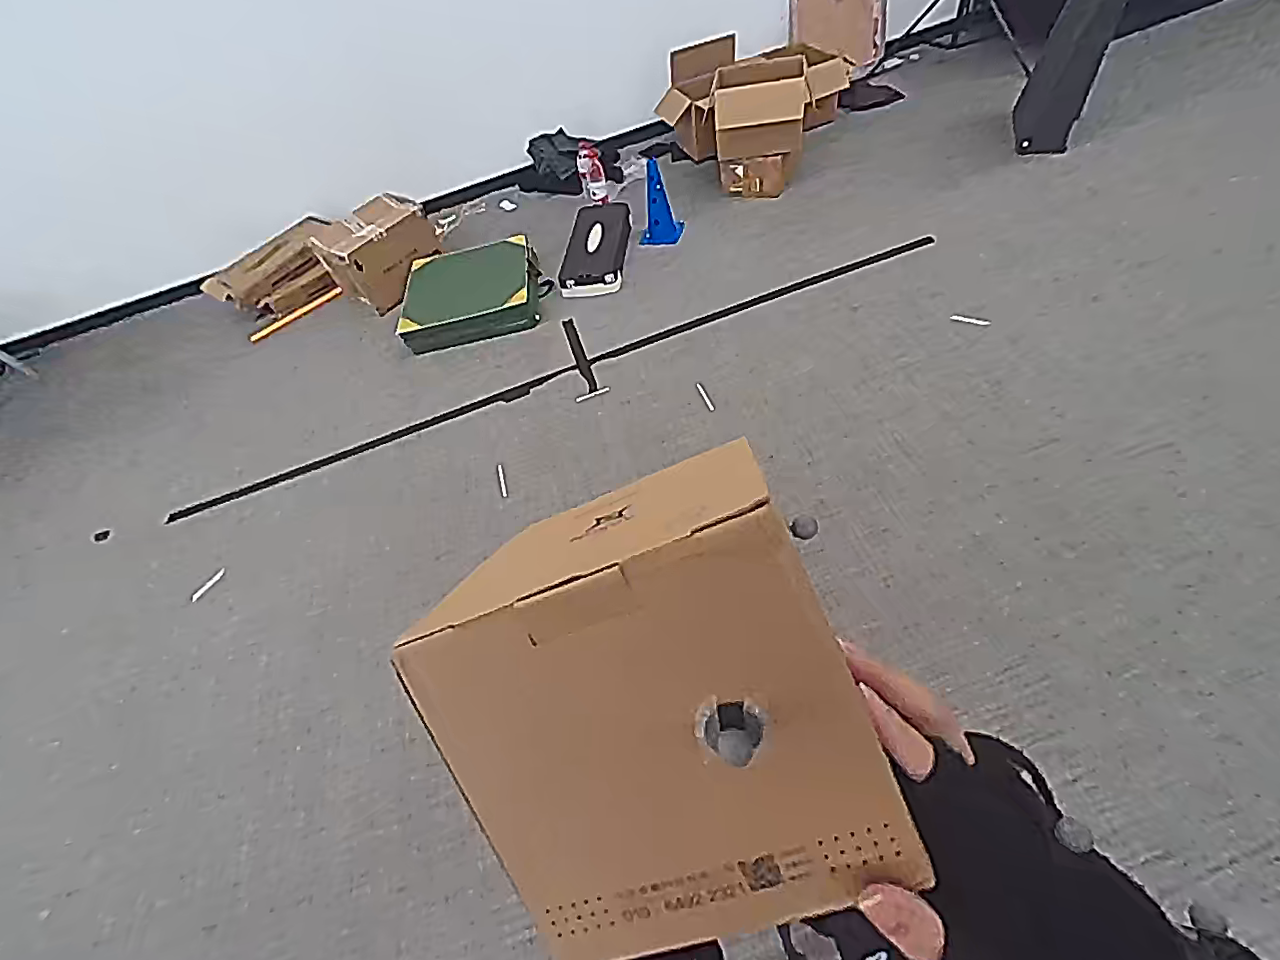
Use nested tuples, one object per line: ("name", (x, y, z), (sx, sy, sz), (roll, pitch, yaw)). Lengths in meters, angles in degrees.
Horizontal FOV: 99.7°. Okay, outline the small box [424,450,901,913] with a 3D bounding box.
("small box", (0.022, 0.102, 0.311), (0.168, 0.176, 0.179), (-23, 7, 12))
